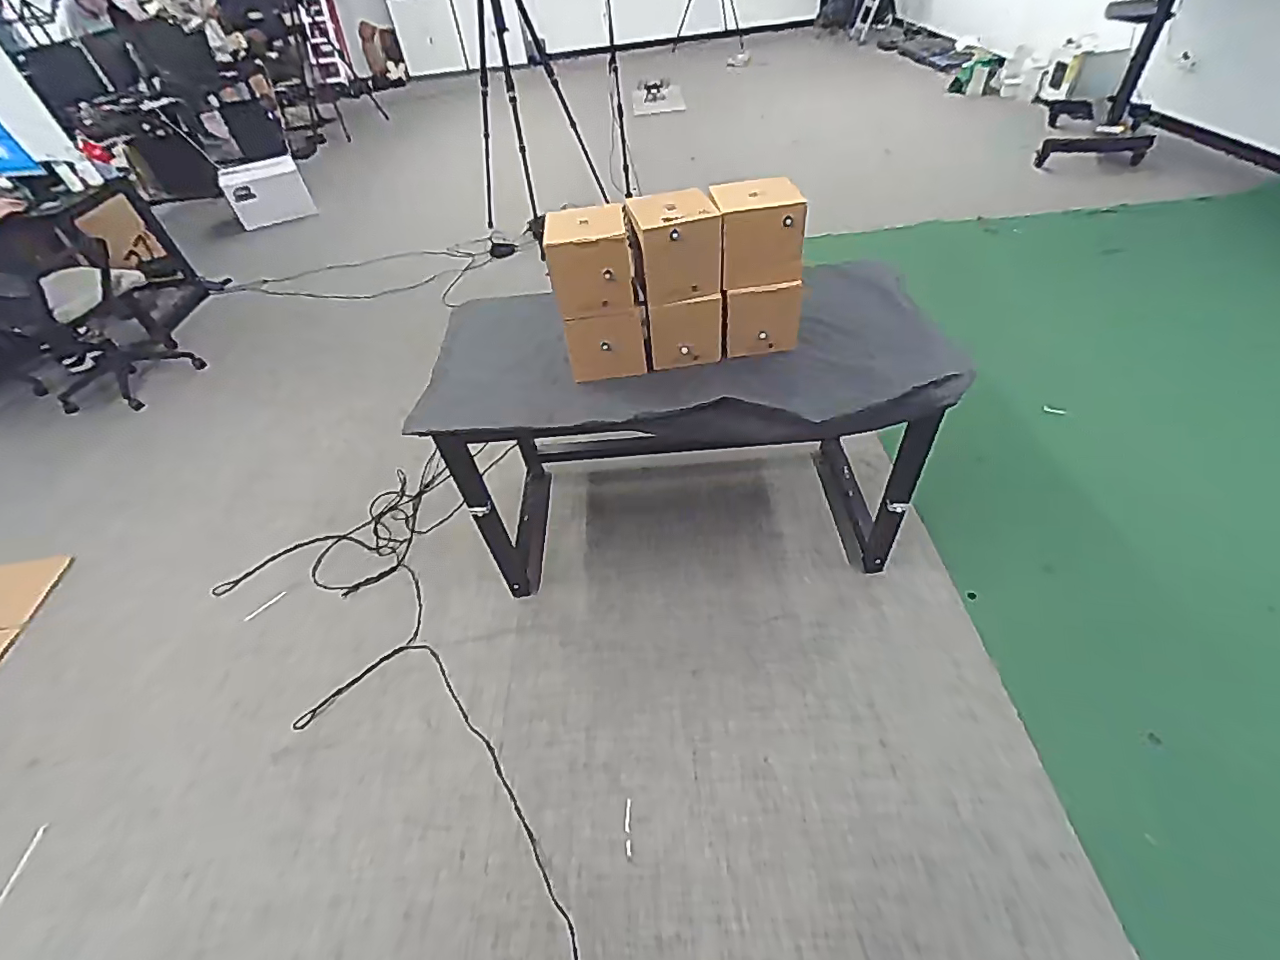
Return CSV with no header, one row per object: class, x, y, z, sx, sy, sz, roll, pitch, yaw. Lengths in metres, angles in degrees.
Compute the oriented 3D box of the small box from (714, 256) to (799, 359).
small box,0.272,-0.414,1.303,0.168,0.176,0.179,-7,46,2
